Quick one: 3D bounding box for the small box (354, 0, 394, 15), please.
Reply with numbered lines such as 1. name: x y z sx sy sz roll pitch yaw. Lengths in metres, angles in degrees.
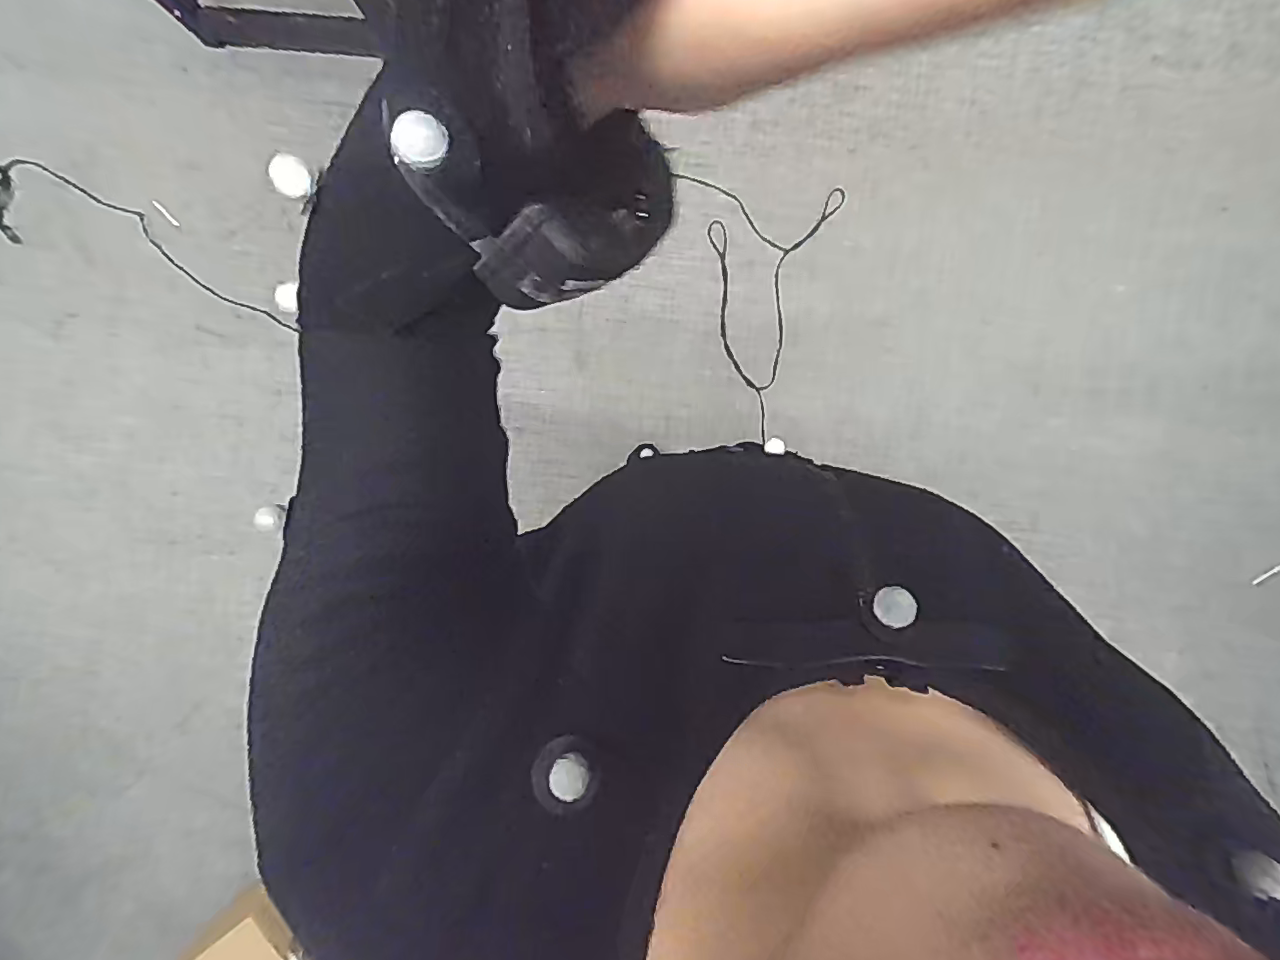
1. small box: -0.709 -1.334 1.359 0.179 0.176 0.168 40 94 0
